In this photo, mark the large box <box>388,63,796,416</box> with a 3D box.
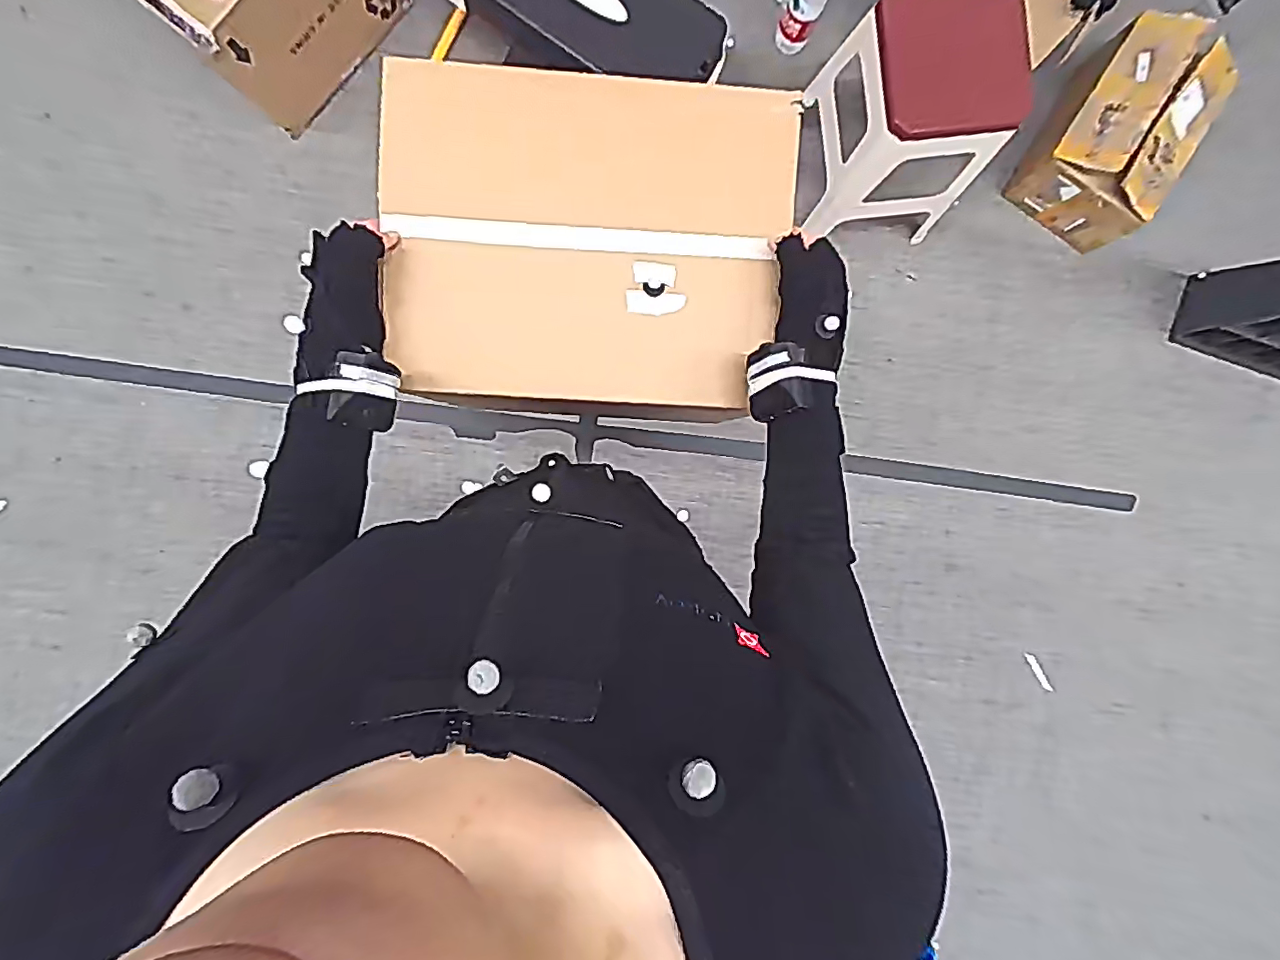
[{"bbox_3d":[-0.056,-0.251,0.686,0.408,0.320,0.320,3,94,-3],"label":"large box"}]
